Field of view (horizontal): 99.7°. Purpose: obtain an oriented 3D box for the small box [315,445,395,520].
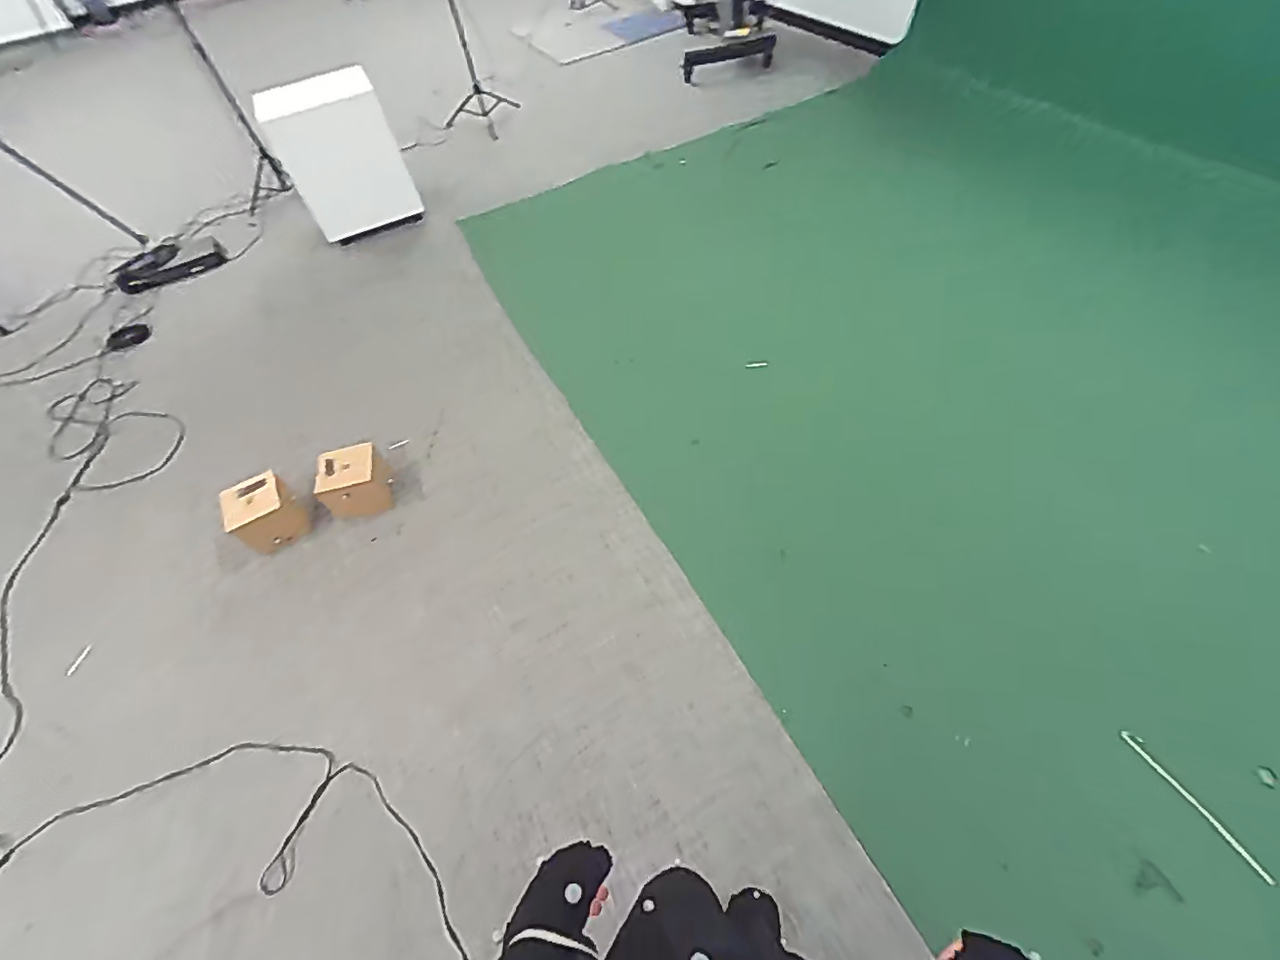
[{"bbox_3d":[-0.938,0.014,1.795,0.179,0.176,0.168,-14,54,-5],"label":"small box"}]
